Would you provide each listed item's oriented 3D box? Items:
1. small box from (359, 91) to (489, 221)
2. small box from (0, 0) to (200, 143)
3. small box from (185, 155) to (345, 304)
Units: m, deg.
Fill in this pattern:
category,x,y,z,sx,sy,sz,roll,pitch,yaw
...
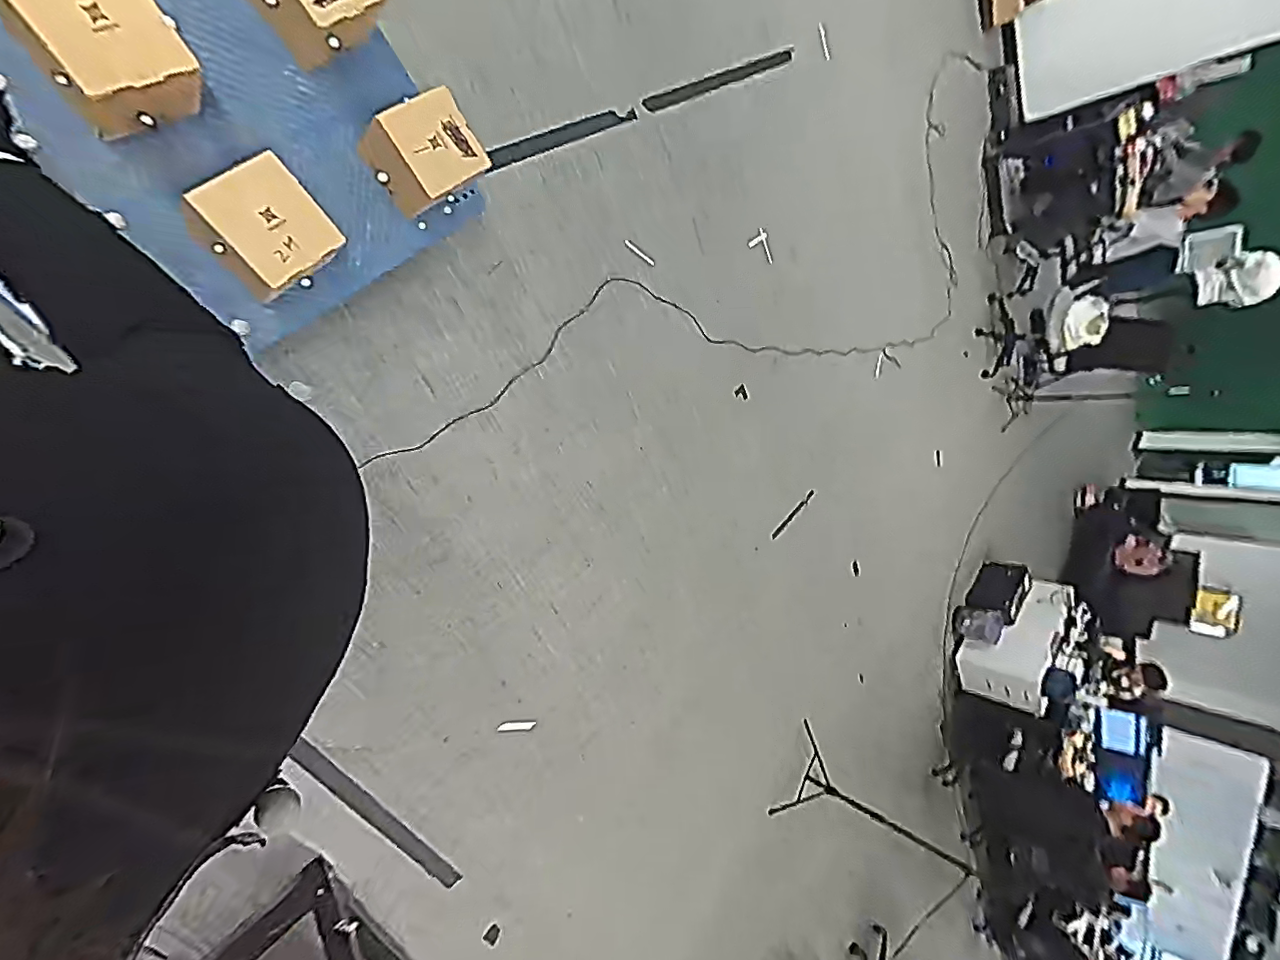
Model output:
category,x,y,z,sx,sy,sz,roll,pitch,yaw
small box,-0.472,-0.697,1.176,0.179,0.176,0.168,-48,122,-26
small box,-0.850,-0.678,0.854,0.168,0.176,0.179,-47,123,-28
small box,-0.698,-0.454,1.006,0.168,0.176,0.179,-51,123,-25
